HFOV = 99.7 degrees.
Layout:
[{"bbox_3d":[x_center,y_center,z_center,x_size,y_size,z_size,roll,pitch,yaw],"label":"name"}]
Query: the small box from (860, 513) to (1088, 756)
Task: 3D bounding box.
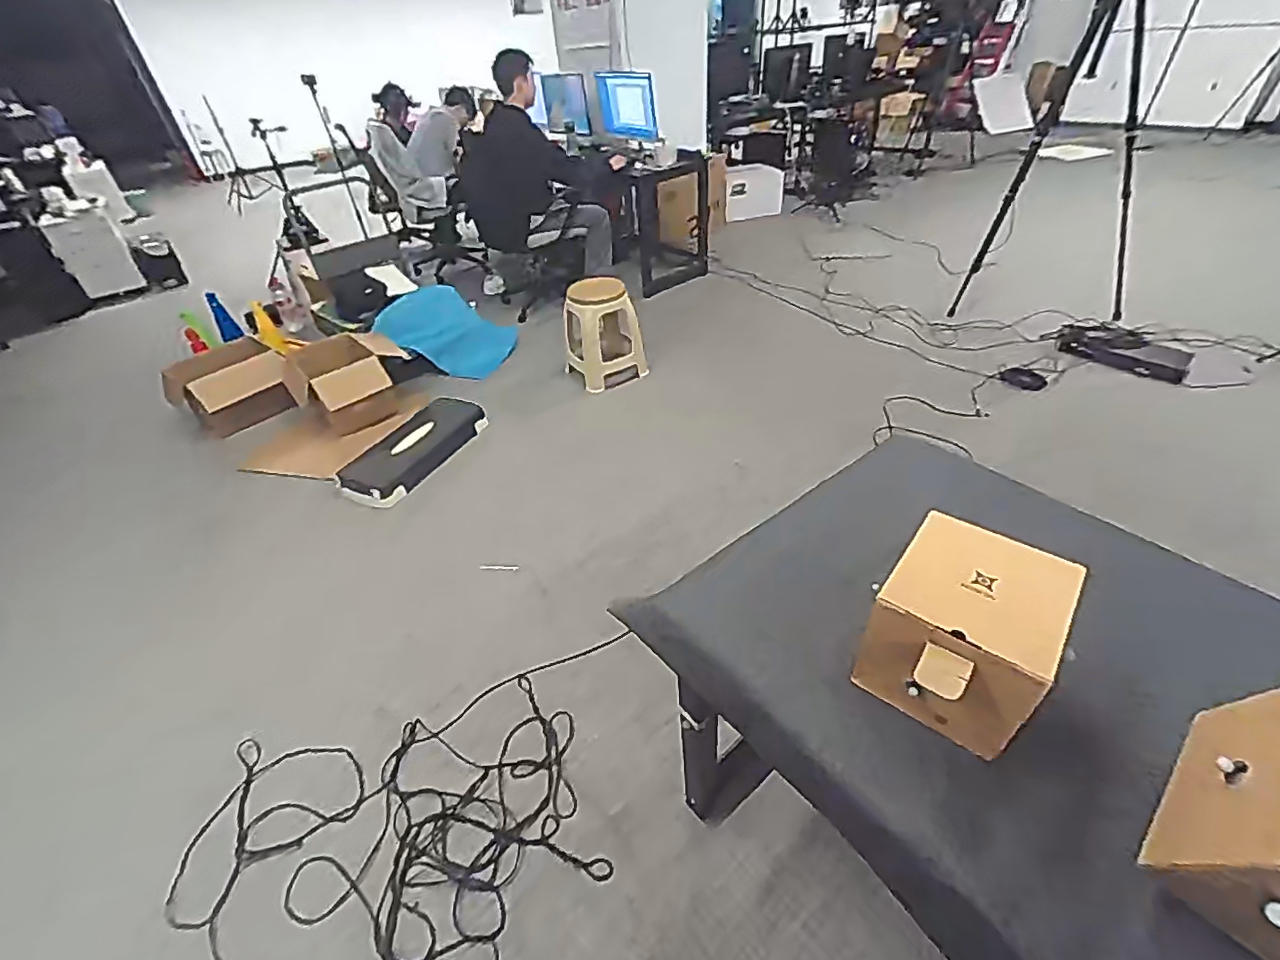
[{"bbox_3d":[0.380,0.176,0.637,0.168,0.176,0.179,26,49,32],"label":"small box"}]
